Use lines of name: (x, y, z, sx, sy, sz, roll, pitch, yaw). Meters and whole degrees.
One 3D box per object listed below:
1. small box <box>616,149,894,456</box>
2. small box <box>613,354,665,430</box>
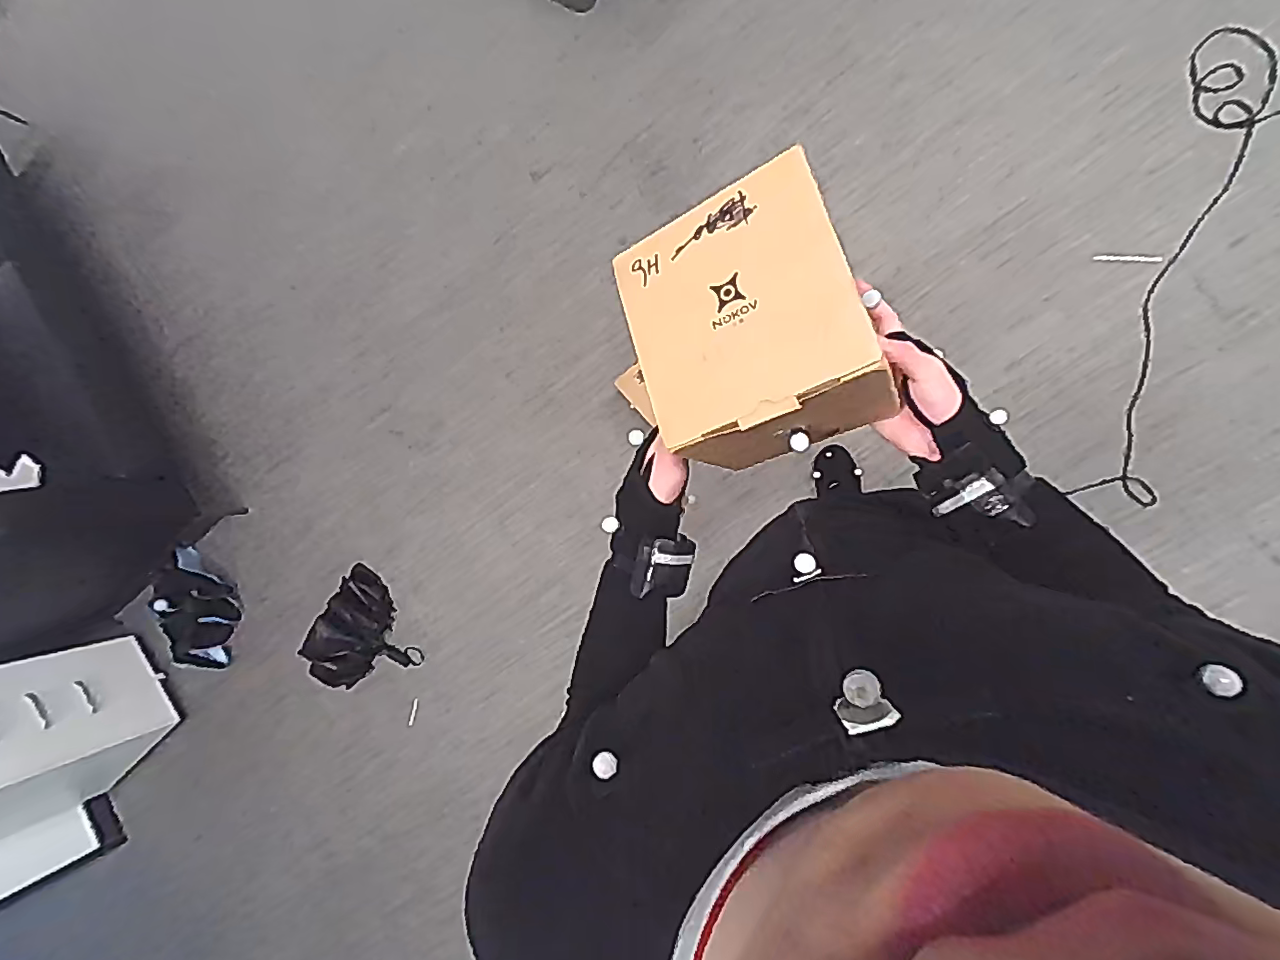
small box: (0.108, -0.126, 0.471, 0.168, 0.176, 0.179, -22, 77, 25)
small box: (0.056, -0.256, 1.541, 0.168, 0.176, 0.179, -43, 80, 12)
